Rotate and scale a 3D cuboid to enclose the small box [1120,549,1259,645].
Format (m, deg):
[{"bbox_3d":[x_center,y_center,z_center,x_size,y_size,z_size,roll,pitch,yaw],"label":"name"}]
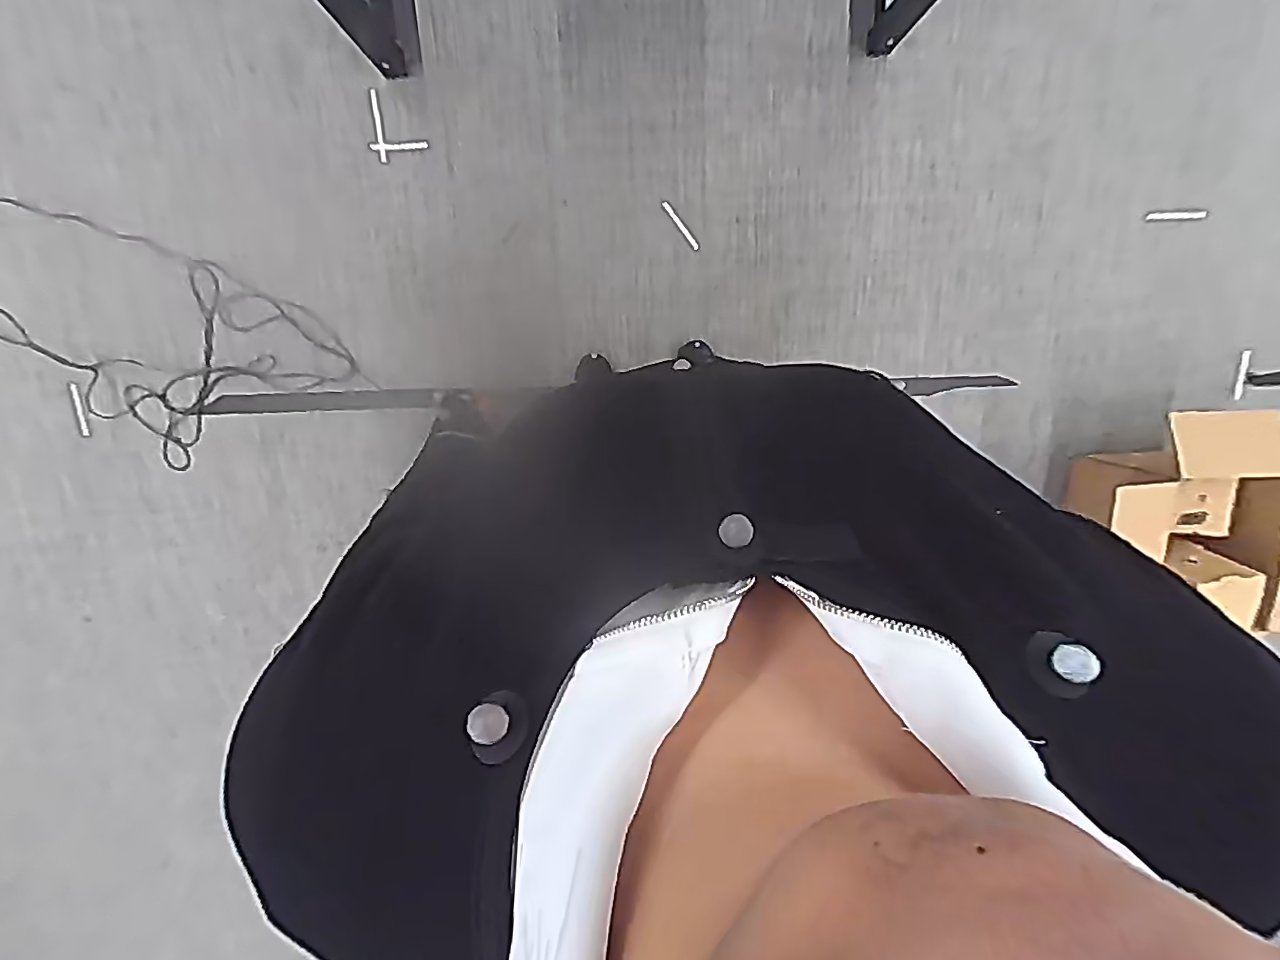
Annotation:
[{"bbox_3d":[1.357,0.283,1.349,0.168,0.176,0.179,-5,107,-2],"label":"small box"}]
